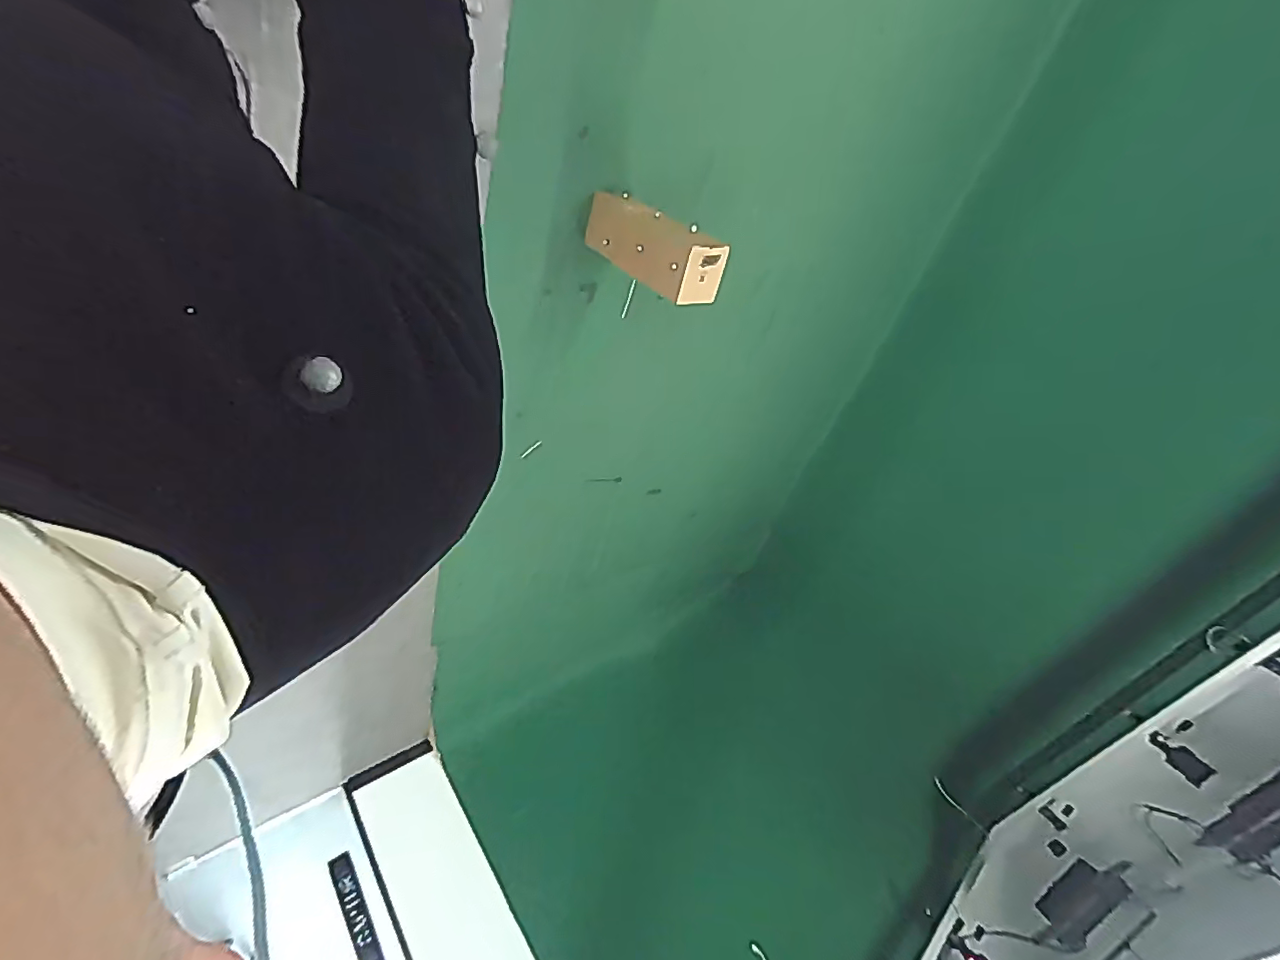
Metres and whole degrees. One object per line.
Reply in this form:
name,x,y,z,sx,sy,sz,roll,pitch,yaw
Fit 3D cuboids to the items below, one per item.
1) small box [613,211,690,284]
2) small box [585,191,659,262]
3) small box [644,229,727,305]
small box,0.031,-0.752,1.757,0.168,0.176,0.179,-15,135,-39
small box,-0.067,-0.853,1.837,0.168,0.176,0.179,-13,135,-41
small box,0.134,-0.659,1.668,0.168,0.176,0.179,-16,138,-37
